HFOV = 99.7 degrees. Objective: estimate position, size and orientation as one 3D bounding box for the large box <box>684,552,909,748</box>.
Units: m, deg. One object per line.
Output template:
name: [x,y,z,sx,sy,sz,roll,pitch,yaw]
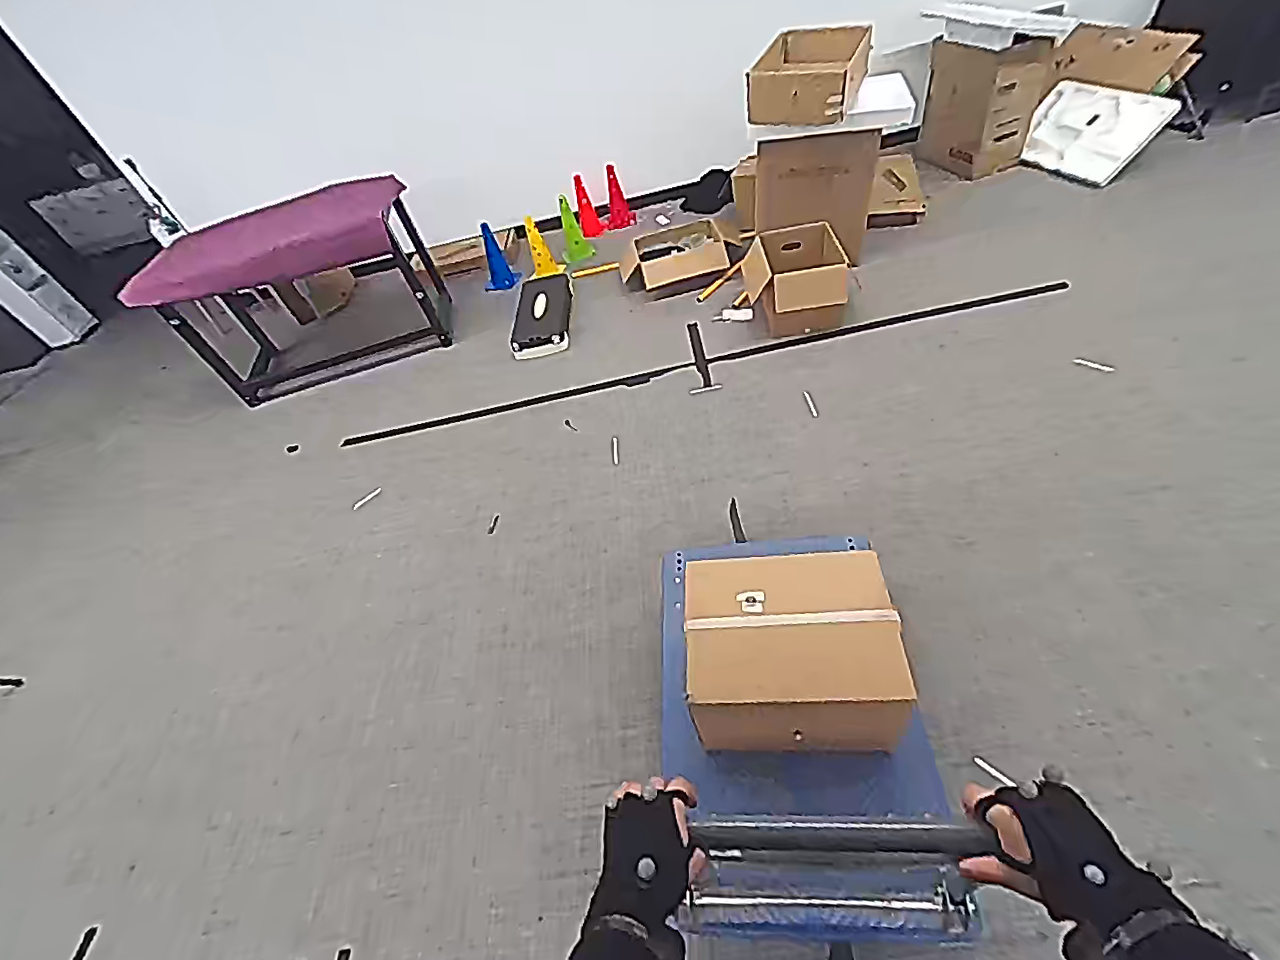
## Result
large box: [0.321,0.386,1.196,0.408,0.320,0.320,-6,47,11]
